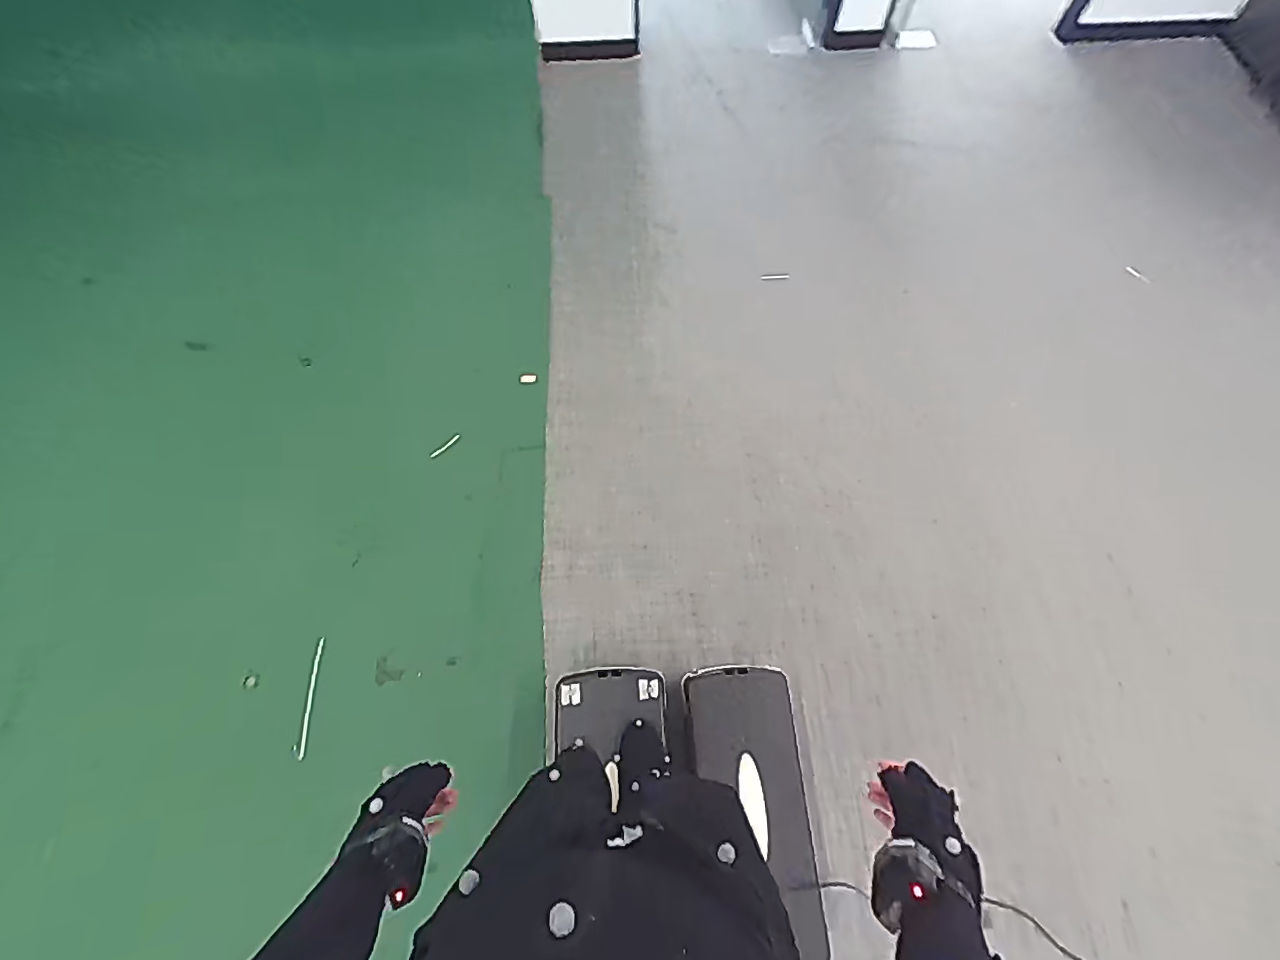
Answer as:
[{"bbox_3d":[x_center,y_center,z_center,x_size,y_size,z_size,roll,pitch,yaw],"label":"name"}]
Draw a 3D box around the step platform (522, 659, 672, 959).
[{"bbox_3d":[-0.092,0.737,1.122,0.286,0.204,0.684,-3,68,-2],"label":"step platform"}]
